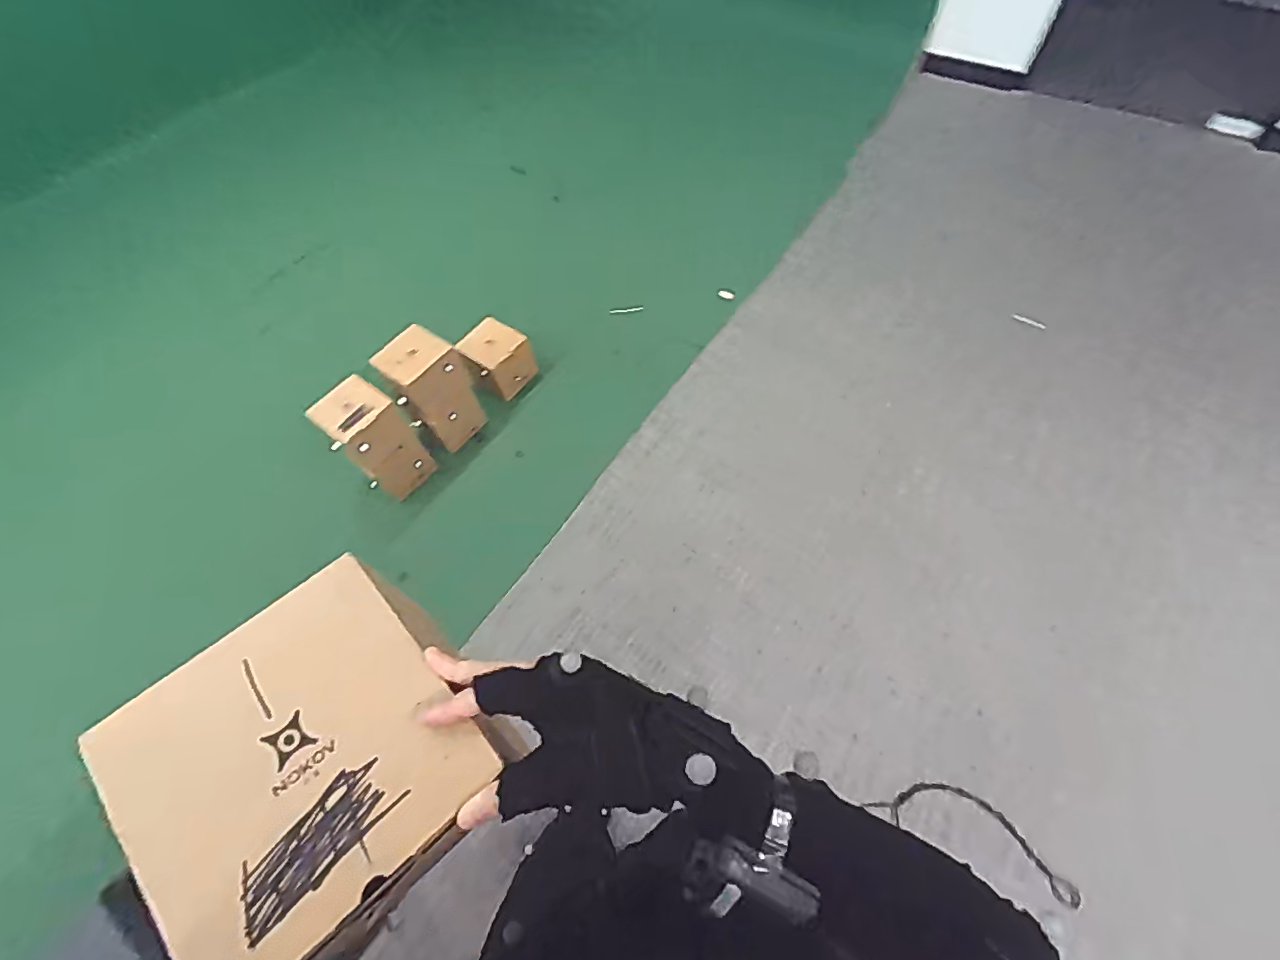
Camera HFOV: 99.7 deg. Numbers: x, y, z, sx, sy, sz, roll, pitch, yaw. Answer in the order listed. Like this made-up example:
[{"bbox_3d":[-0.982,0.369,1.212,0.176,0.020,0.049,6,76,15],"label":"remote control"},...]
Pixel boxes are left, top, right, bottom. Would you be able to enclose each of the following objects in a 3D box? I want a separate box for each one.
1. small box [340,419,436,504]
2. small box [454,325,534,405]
[{"bbox_3d":[-0.763,-0.048,1.656,0.179,0.176,0.168,34,68,21],"label":"small box"},{"bbox_3d":[-0.487,-0.384,1.825,0.179,0.176,0.168,30,67,19],"label":"small box"}]
